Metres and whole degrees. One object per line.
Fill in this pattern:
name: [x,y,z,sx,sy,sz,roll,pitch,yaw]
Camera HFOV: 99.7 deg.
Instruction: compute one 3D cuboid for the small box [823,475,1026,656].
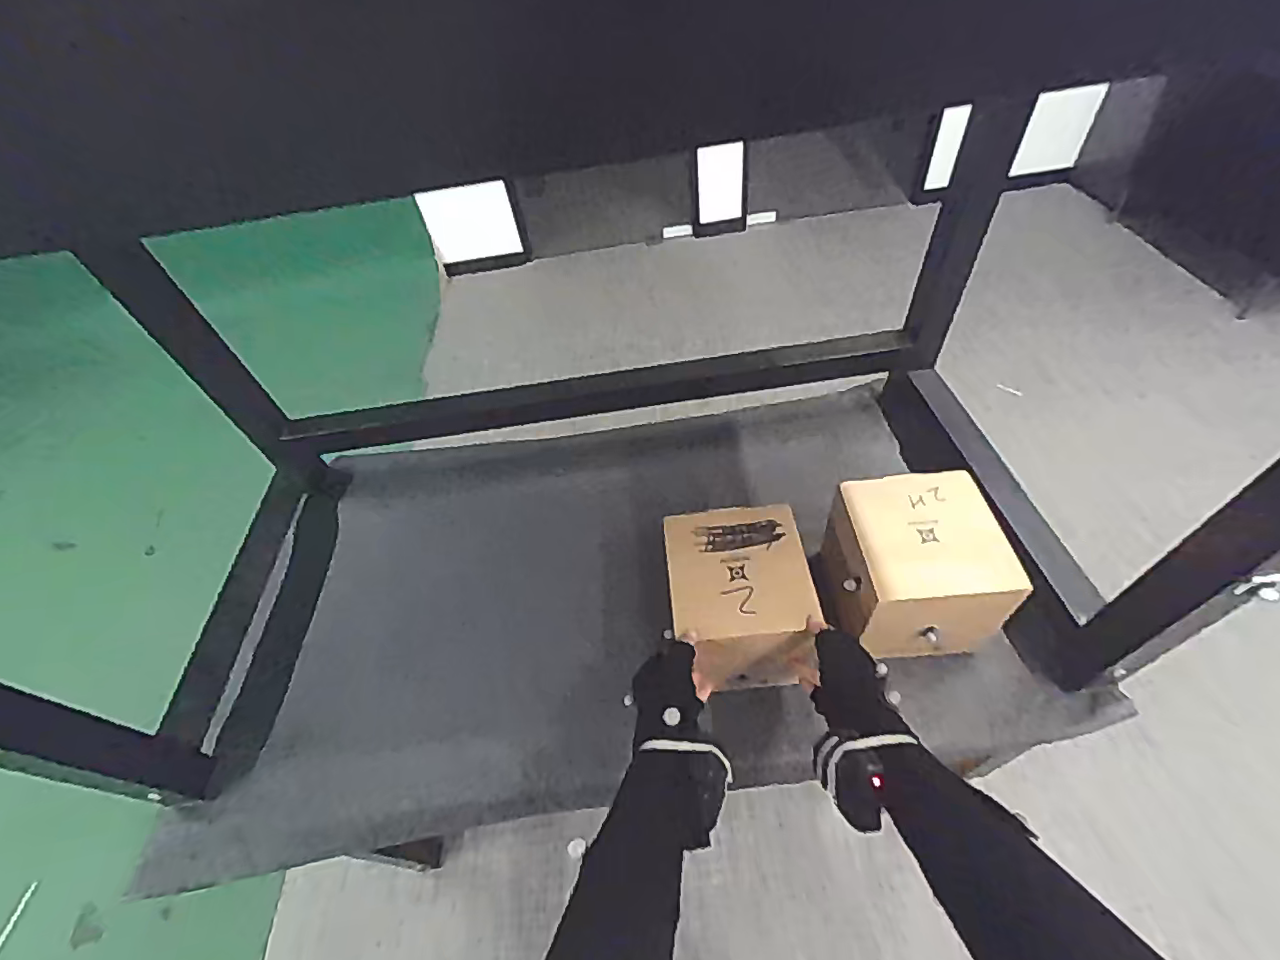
small box: [0.348,0.118,0.705,0.168,0.176,0.179,-5,49,5]
